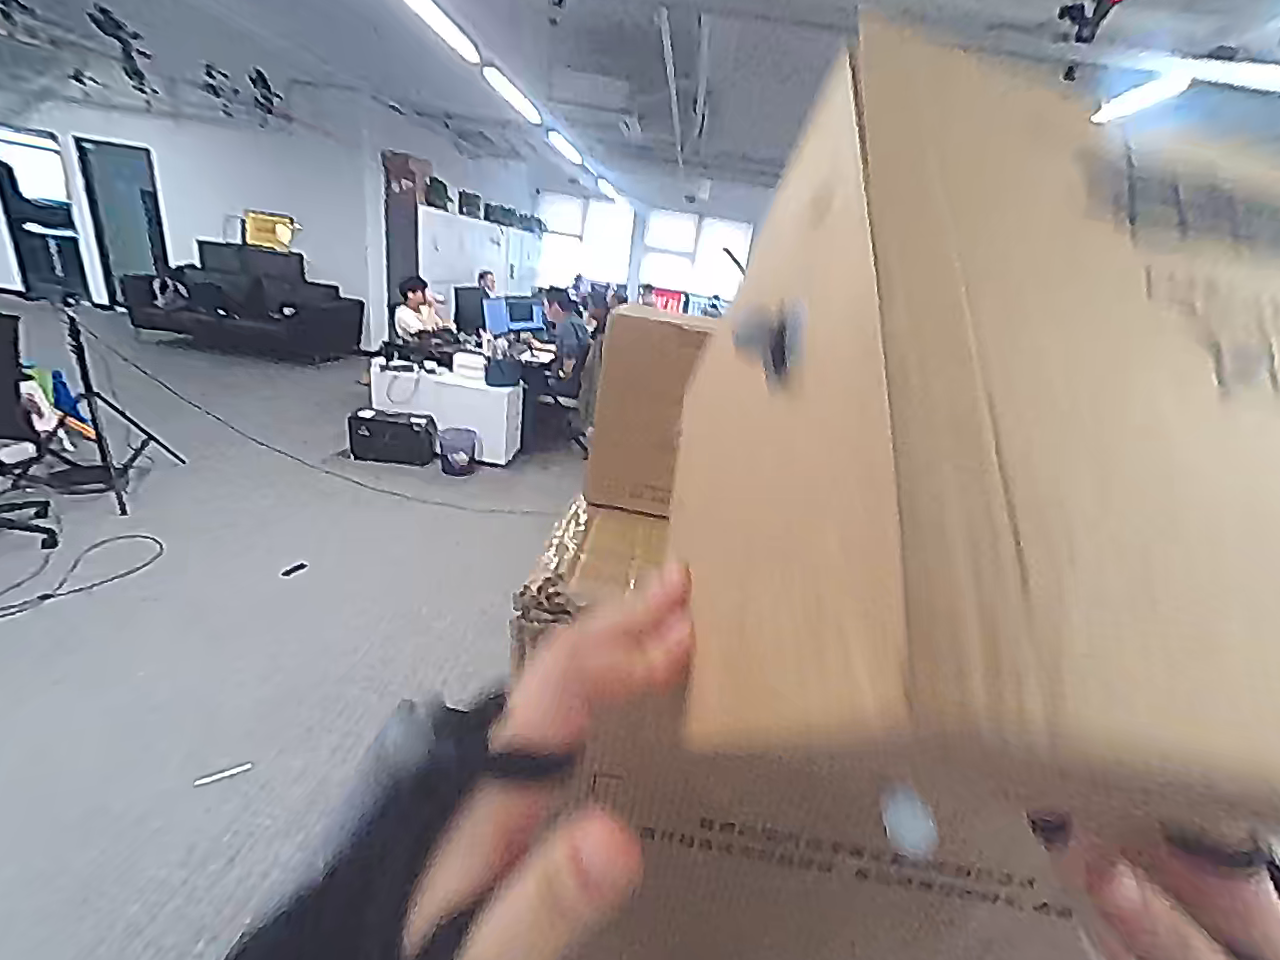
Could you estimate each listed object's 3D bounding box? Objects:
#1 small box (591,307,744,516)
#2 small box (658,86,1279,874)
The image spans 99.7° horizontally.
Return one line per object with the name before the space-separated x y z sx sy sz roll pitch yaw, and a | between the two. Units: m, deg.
small box | 0.050 -0.069 0.534 0.168 0.176 0.179 10 20 2
small box | 0.109 0.018 0.188 0.168 0.176 0.179 12 61 -6
